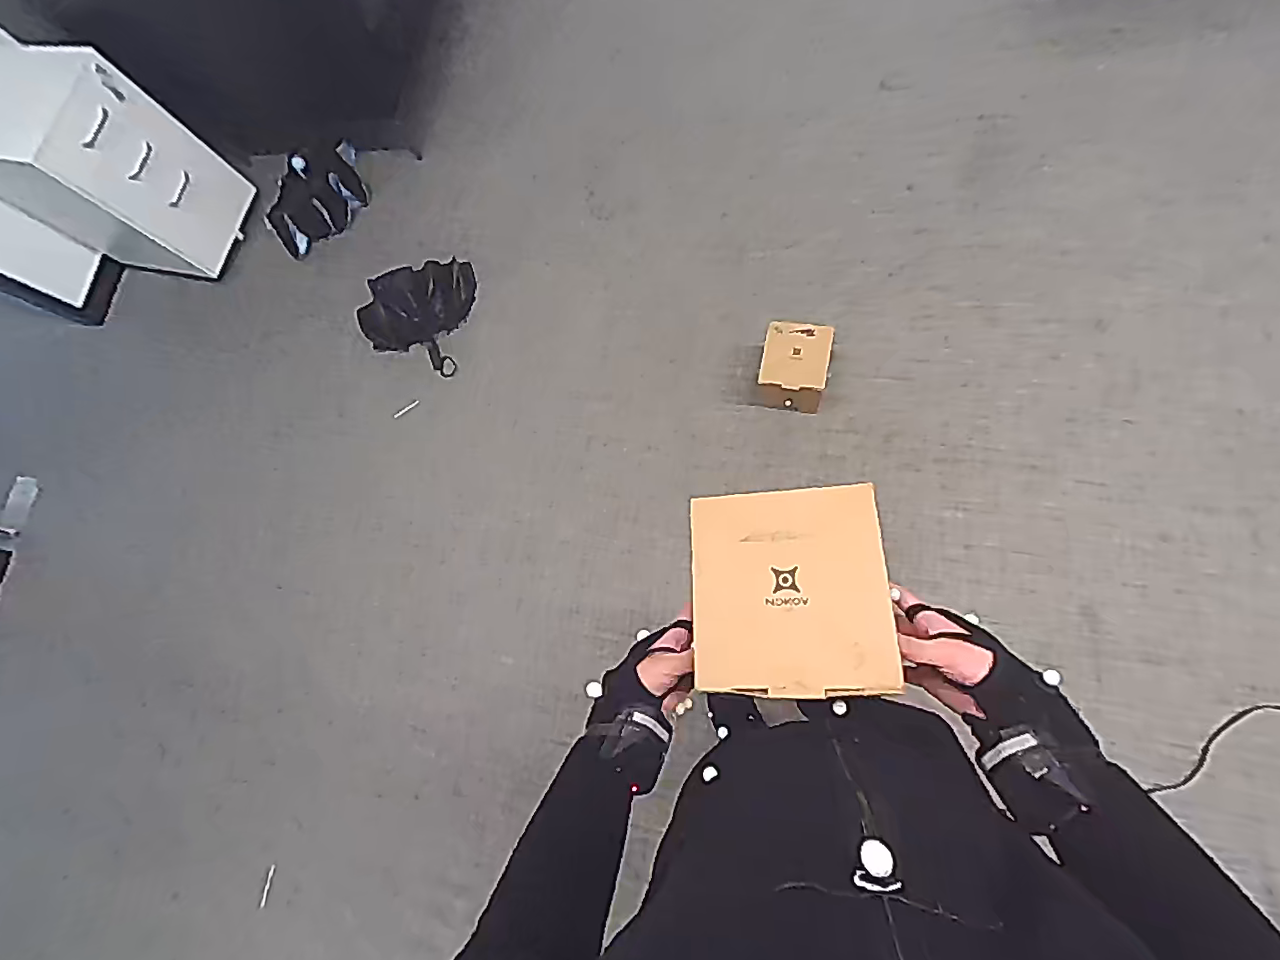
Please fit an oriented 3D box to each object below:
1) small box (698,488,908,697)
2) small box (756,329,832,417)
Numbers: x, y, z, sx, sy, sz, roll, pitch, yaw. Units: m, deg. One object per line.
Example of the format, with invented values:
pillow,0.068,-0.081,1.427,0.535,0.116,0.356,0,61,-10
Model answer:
small box,0.154,0.124,0.543,0.168,0.176,0.179,-6,66,13
small box,0.412,-0.283,1.454,0.168,0.176,0.179,10,79,15
